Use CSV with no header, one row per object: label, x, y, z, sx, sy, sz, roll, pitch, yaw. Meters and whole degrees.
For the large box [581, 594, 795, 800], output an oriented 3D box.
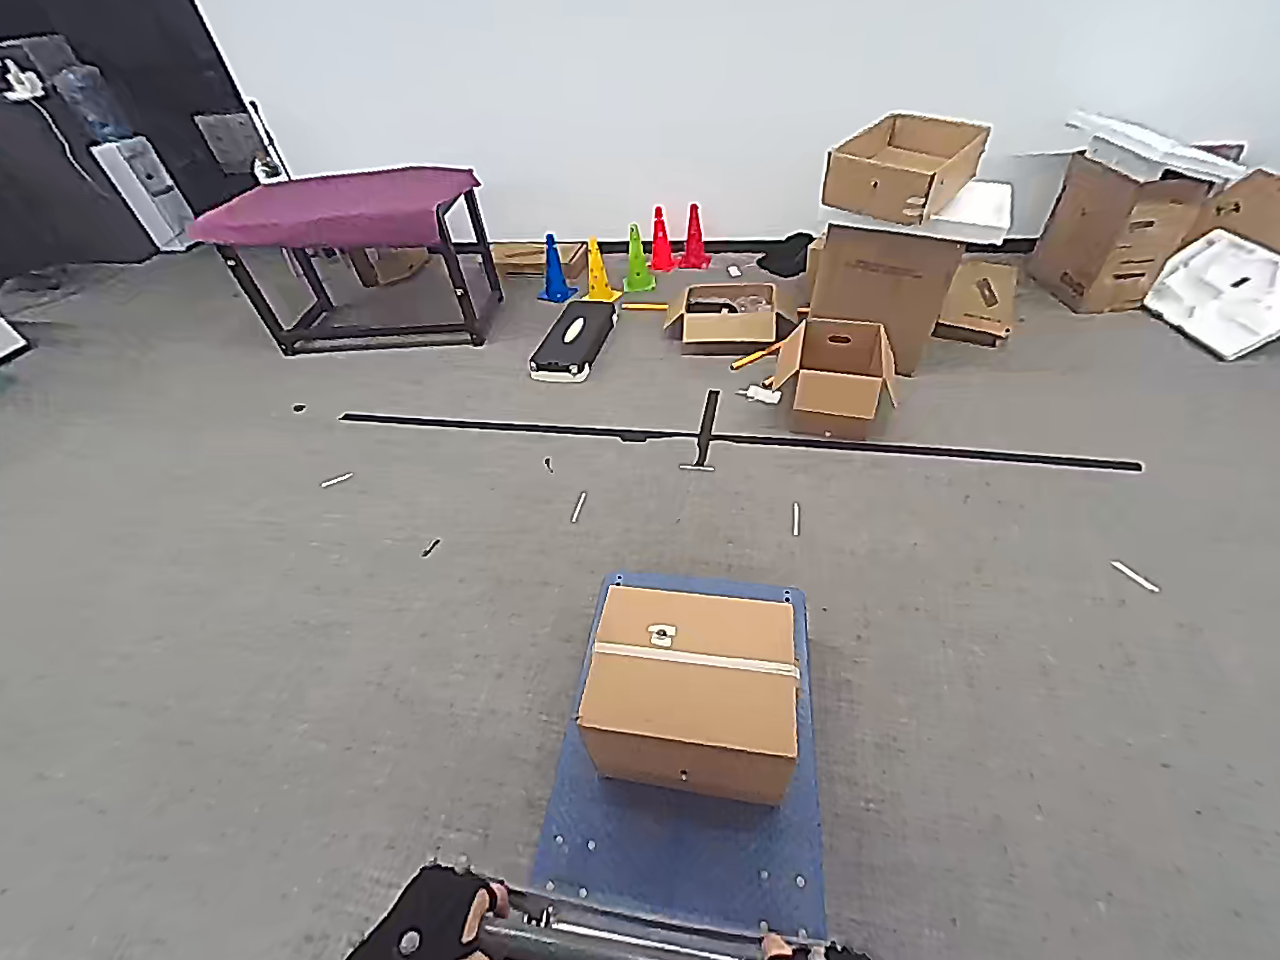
large box,0.120,0.480,1.202,0.408,0.320,0.320,2,45,11
